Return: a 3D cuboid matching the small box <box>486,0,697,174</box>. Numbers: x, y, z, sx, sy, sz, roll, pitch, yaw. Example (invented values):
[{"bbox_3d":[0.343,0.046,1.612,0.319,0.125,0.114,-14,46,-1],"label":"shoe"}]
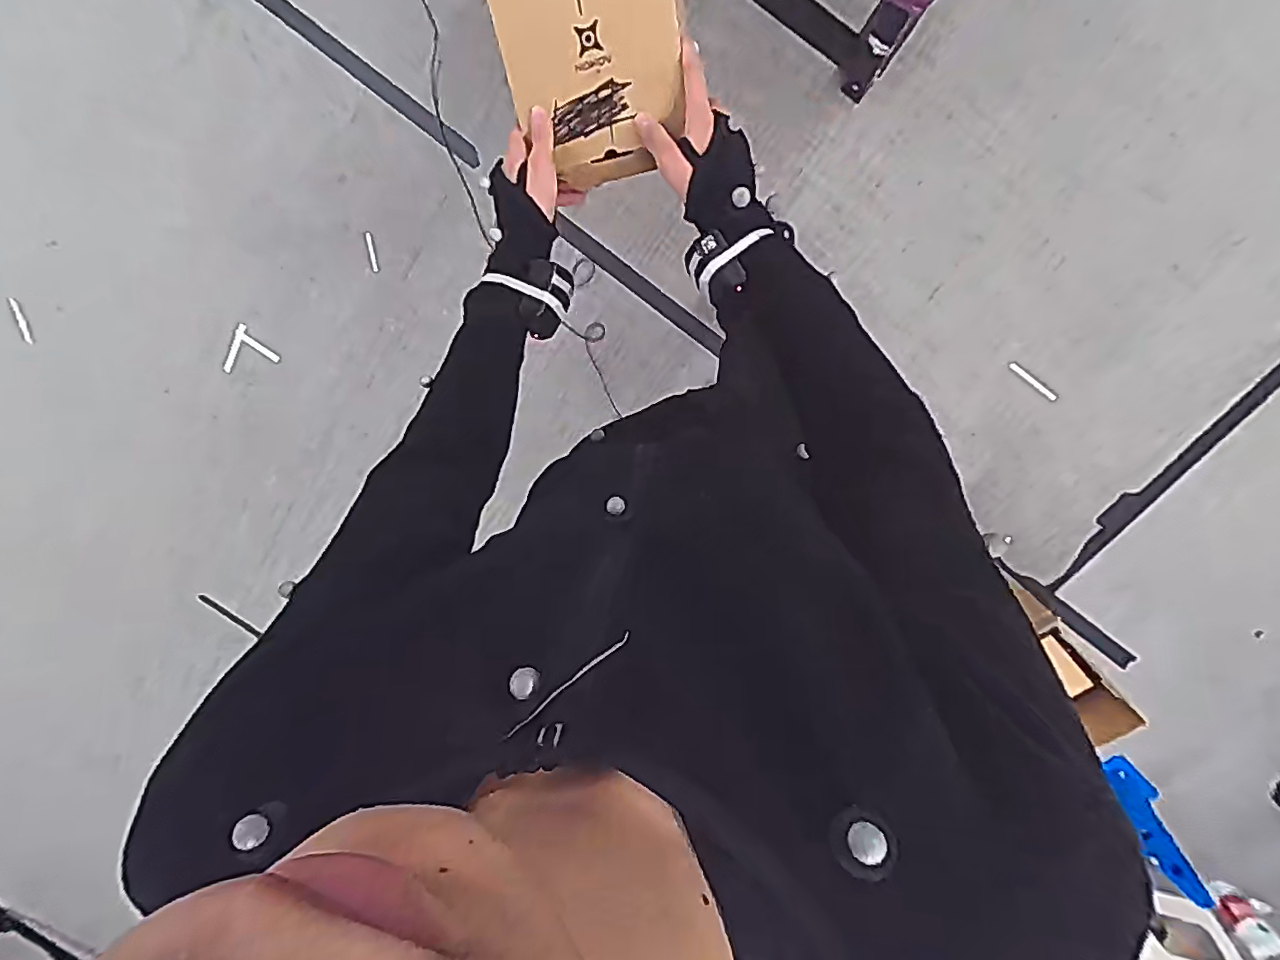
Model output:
[{"bbox_3d":[-0.037,-0.433,0.561,0.168,0.176,0.179,-8,116,13],"label":"small box"}]
